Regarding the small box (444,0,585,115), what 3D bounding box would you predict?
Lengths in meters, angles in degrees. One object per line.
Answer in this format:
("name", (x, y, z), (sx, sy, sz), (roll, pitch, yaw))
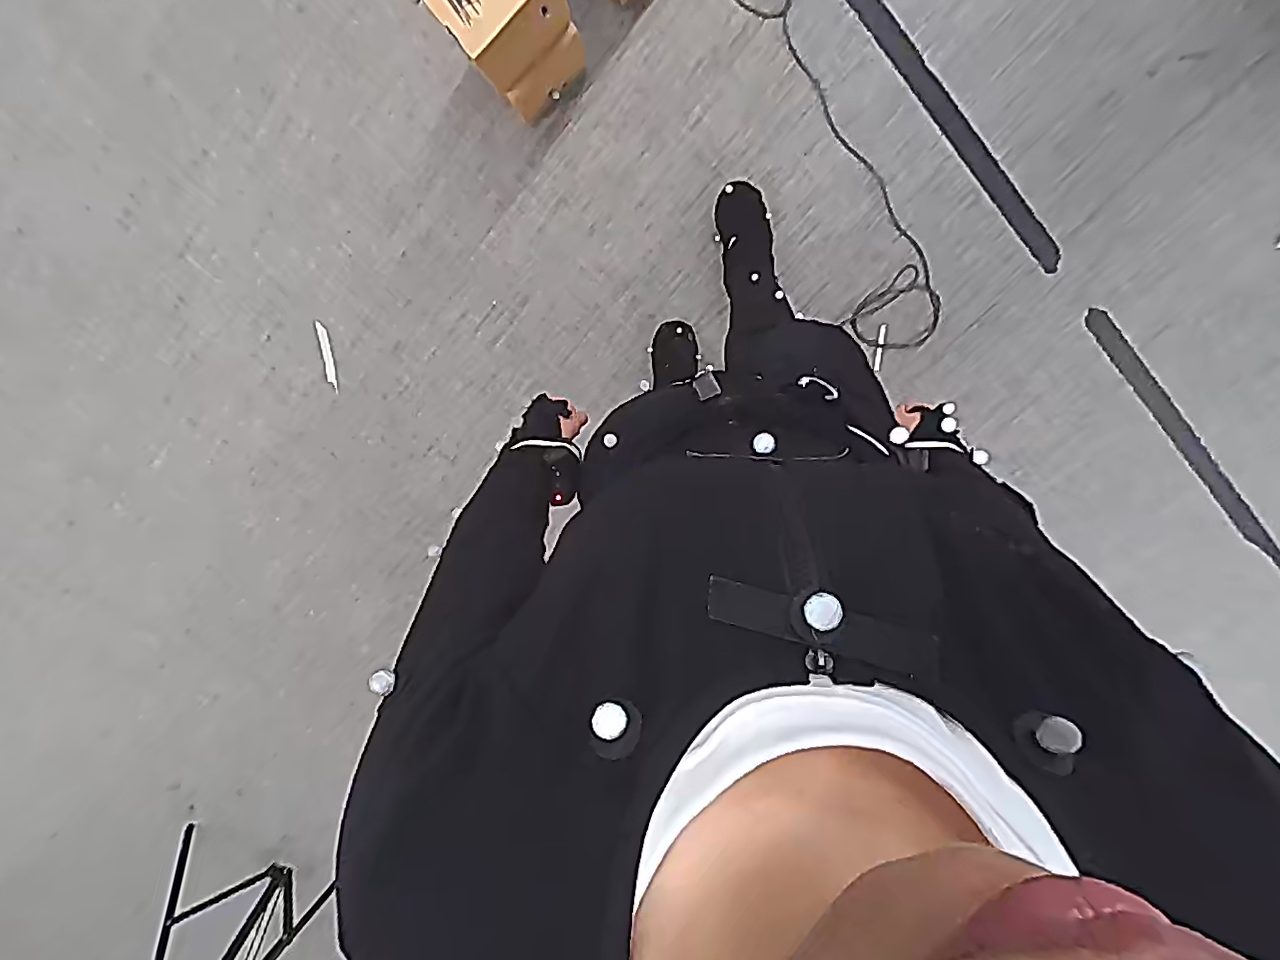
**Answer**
("small box", (-0.221, -0.826, 1.001), (0.168, 0.176, 0.179), (-38, 107, 14))
